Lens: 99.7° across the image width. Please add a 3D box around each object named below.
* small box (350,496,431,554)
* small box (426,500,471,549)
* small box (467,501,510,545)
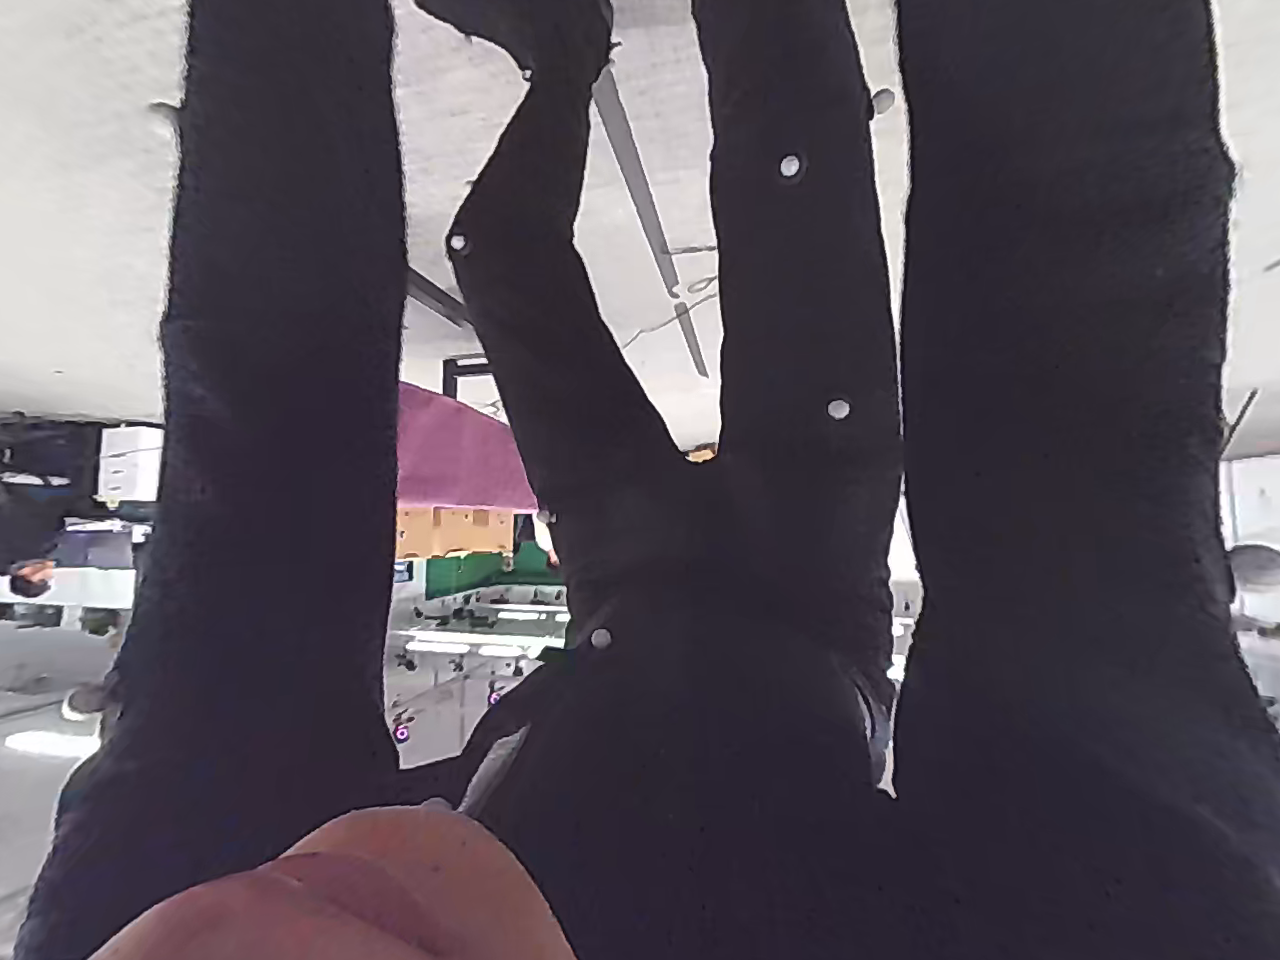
[{"bbox_3d":[-0.776,0.137,1.683,0.179,0.176,0.168,-1,175,25],"label":"small box"},{"bbox_3d":[-0.729,0.157,1.941,0.179,0.176,0.168,-1,176,23],"label":"small box"},{"bbox_3d":[-0.644,0.177,2.210,0.179,0.176,0.168,-2,176,21],"label":"small box"}]
